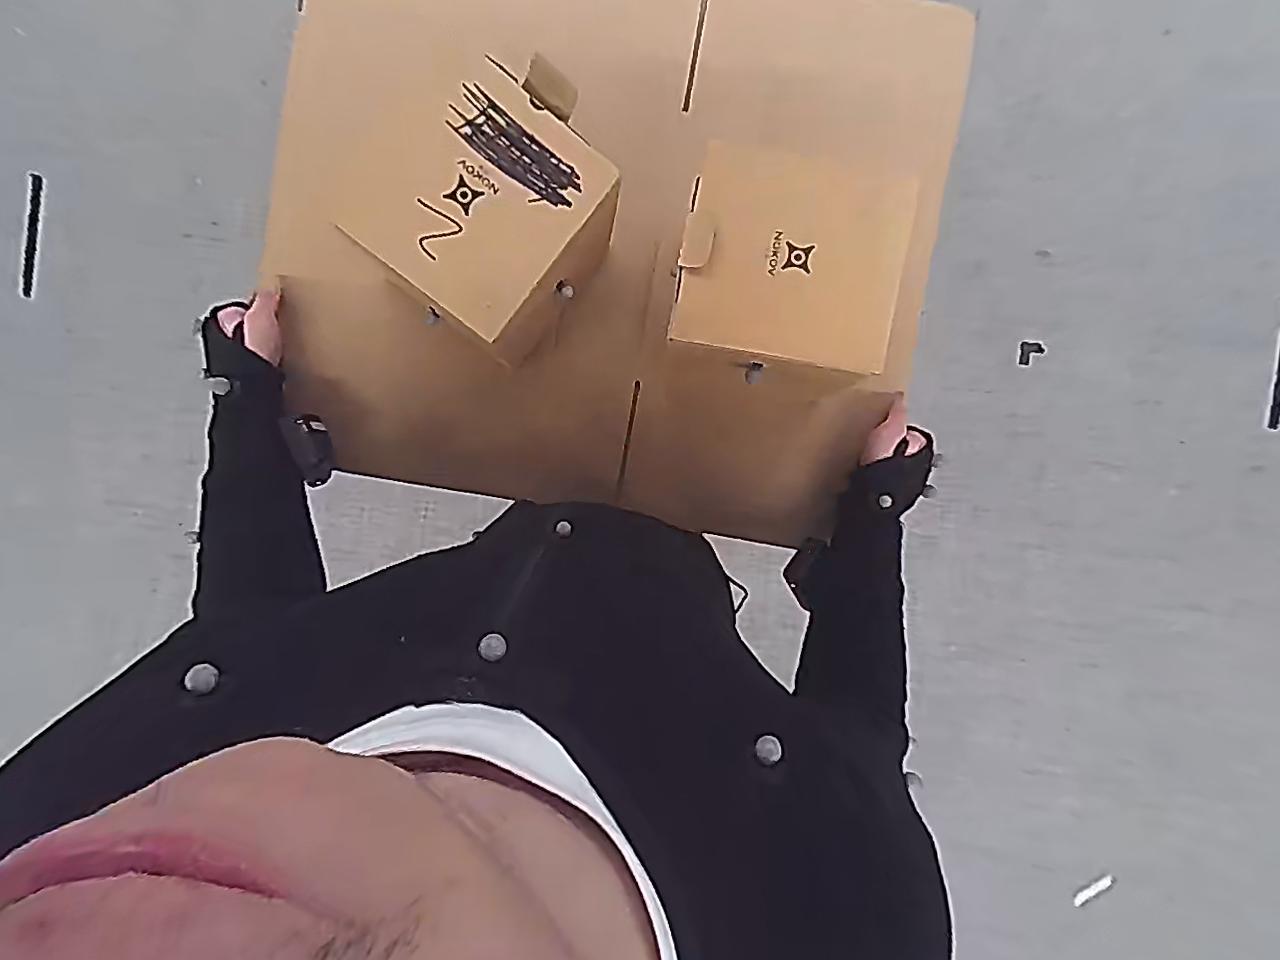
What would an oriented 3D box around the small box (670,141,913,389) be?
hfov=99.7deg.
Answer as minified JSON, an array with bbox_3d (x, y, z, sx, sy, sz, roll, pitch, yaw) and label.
[{"bbox_3d":[0.128,-0.189,0.528,0.179,0.176,0.168,10,92,3],"label":"small box"}]
